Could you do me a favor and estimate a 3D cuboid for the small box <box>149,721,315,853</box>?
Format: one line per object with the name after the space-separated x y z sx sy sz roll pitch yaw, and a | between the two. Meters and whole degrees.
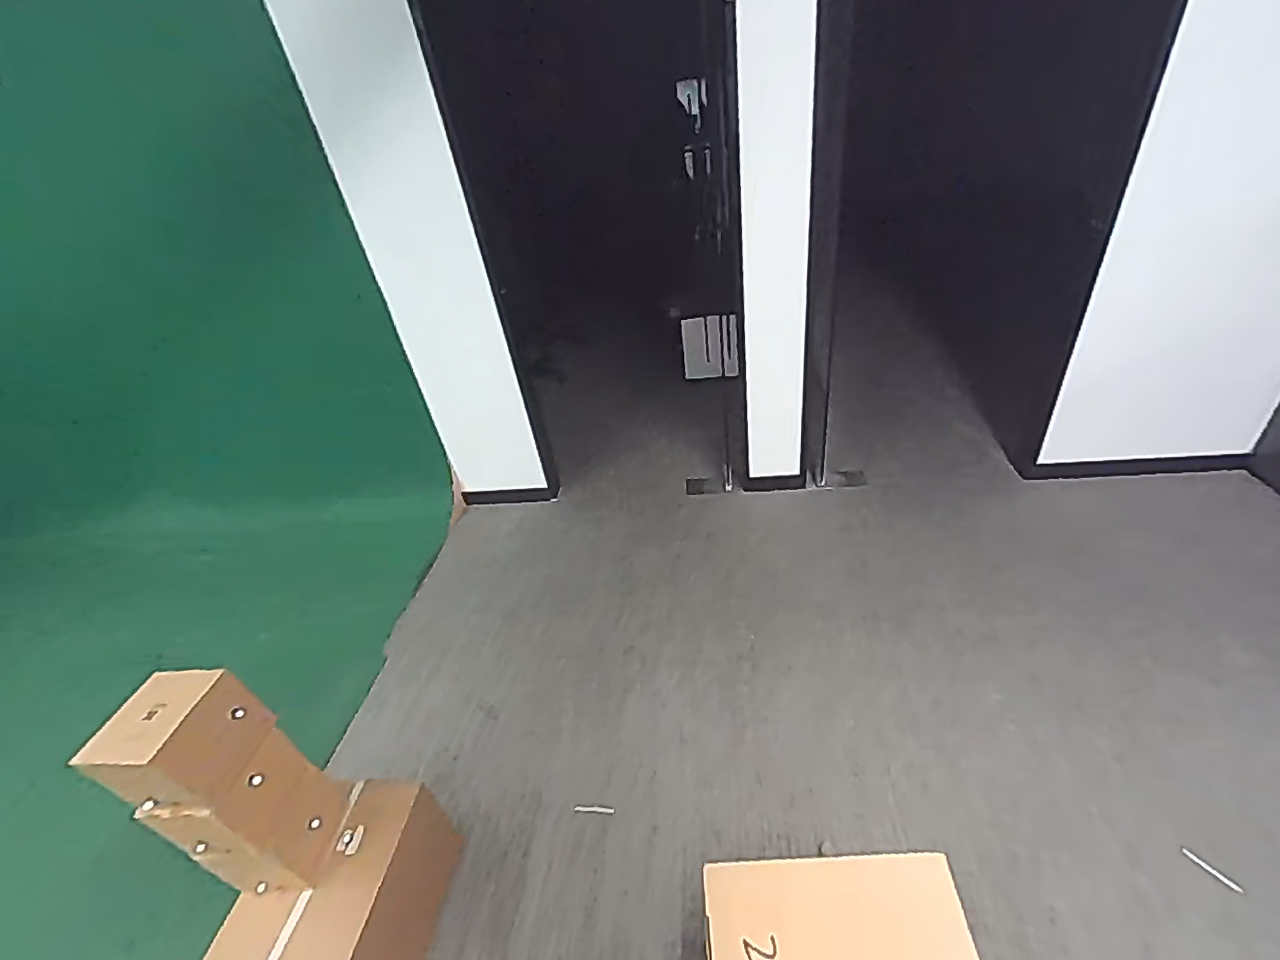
-0.791 0.609 1.077 0.168 0.176 0.179 -7 35 11 | small box

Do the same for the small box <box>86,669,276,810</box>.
-0.817 0.472 0.991 0.168 0.176 0.179 -6 35 13 | small box

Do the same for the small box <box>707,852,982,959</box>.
0.149 0.388 0.401 0.179 0.176 0.168 -8 47 7 | small box

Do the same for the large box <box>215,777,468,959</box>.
-0.651 0.967 1.244 0.320 0.320 0.408 -4 34 9 | large box
